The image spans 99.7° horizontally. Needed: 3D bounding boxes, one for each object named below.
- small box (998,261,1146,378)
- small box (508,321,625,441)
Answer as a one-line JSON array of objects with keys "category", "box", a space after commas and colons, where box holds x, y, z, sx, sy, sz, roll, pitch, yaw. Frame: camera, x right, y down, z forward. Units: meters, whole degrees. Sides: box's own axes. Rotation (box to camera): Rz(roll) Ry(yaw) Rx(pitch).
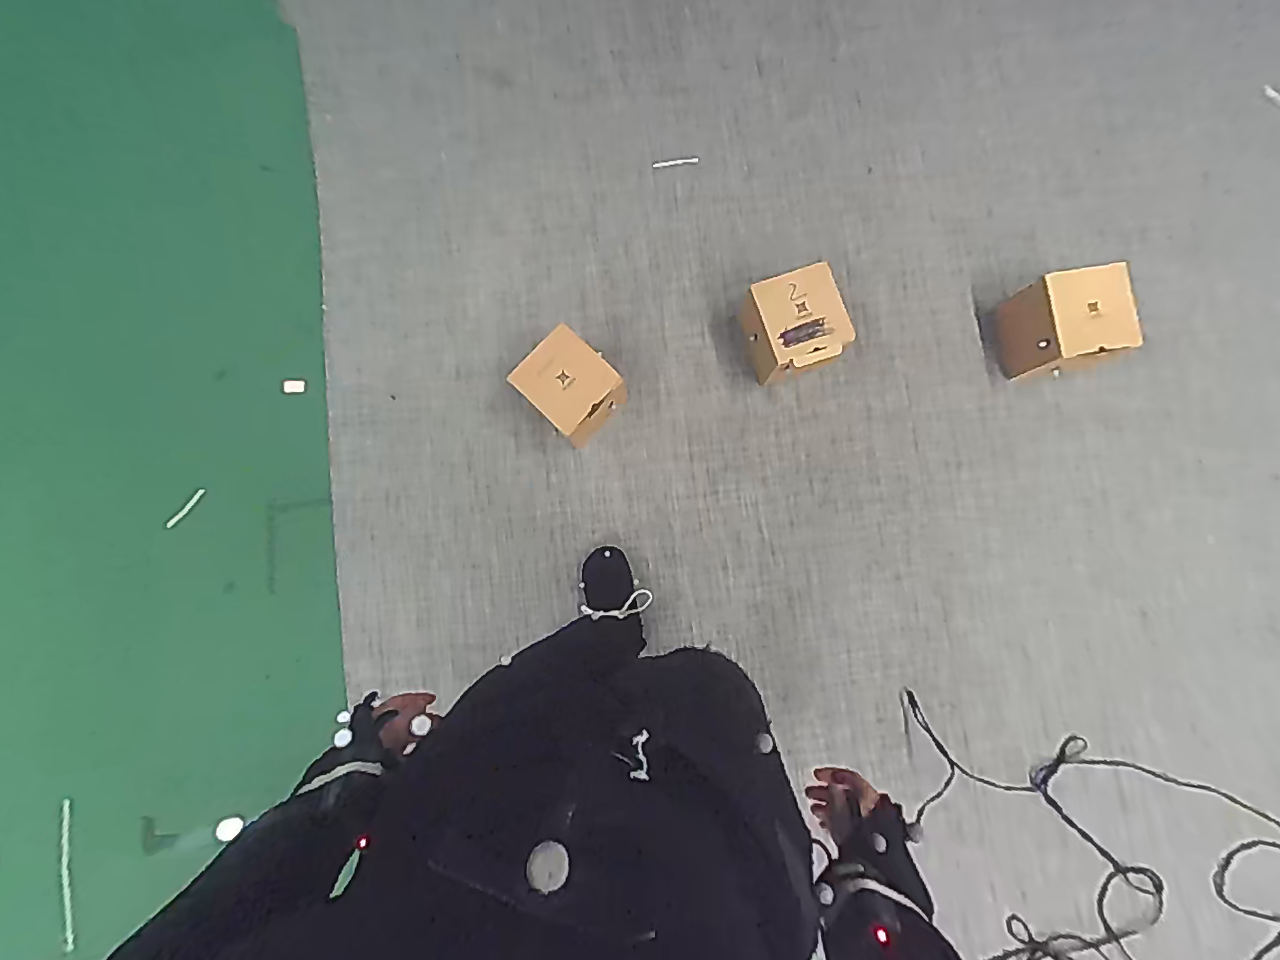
[{"category": "small box", "box": [0.899, -0.331, 1.143, 0.168, 0.176, 0.179, -9, 86, 0]}, {"category": "small box", "box": [-0.146, -0.199, 1.155, 0.179, 0.176, 0.168, 43, 86, 5]}]
